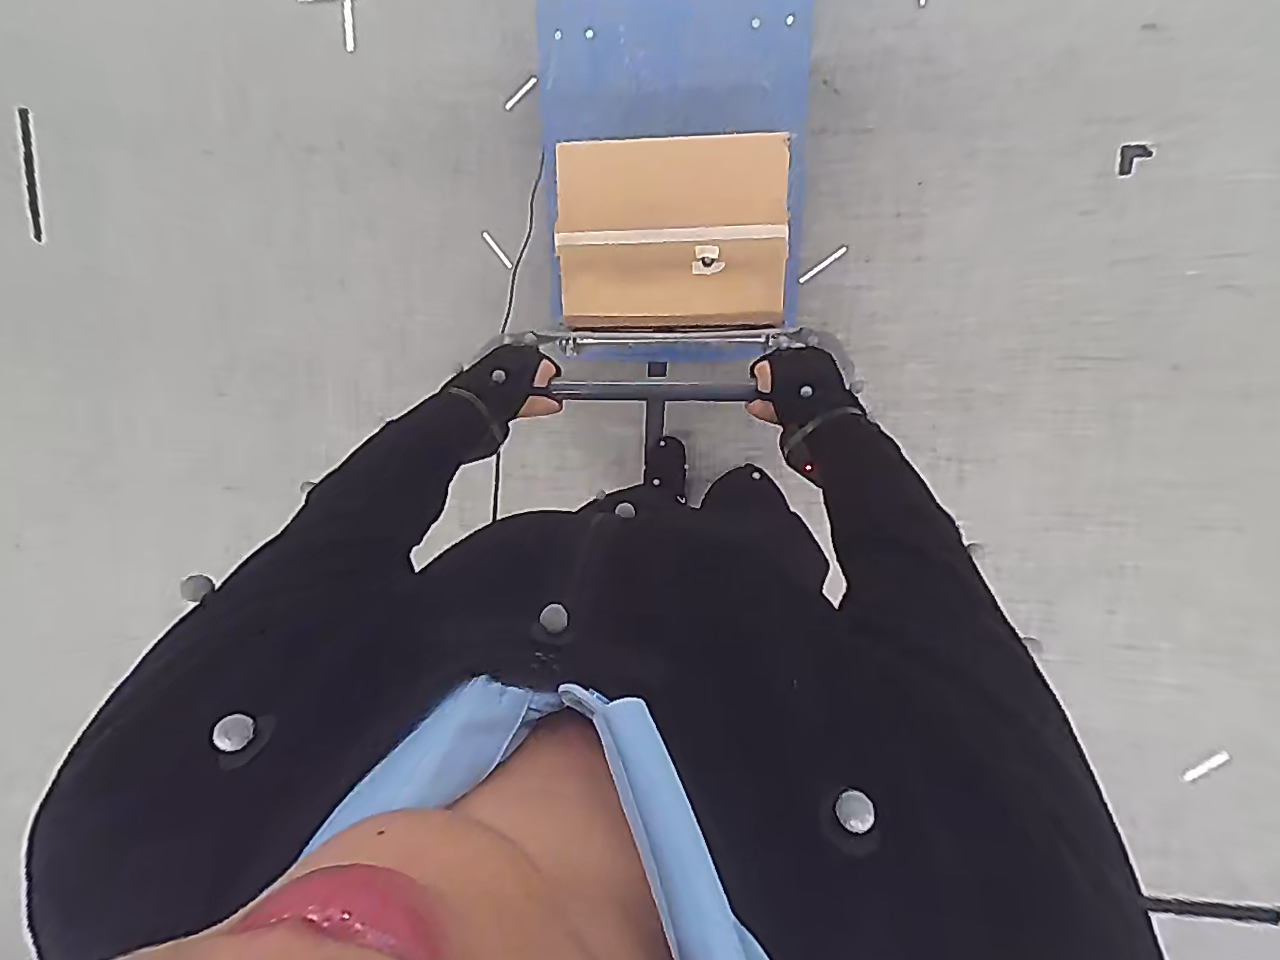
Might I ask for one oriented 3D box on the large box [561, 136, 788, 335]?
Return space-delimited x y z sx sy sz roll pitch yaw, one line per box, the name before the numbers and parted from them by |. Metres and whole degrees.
large box | 0.071 -0.472 1.120 0.408 0.320 0.320 0 104 5
